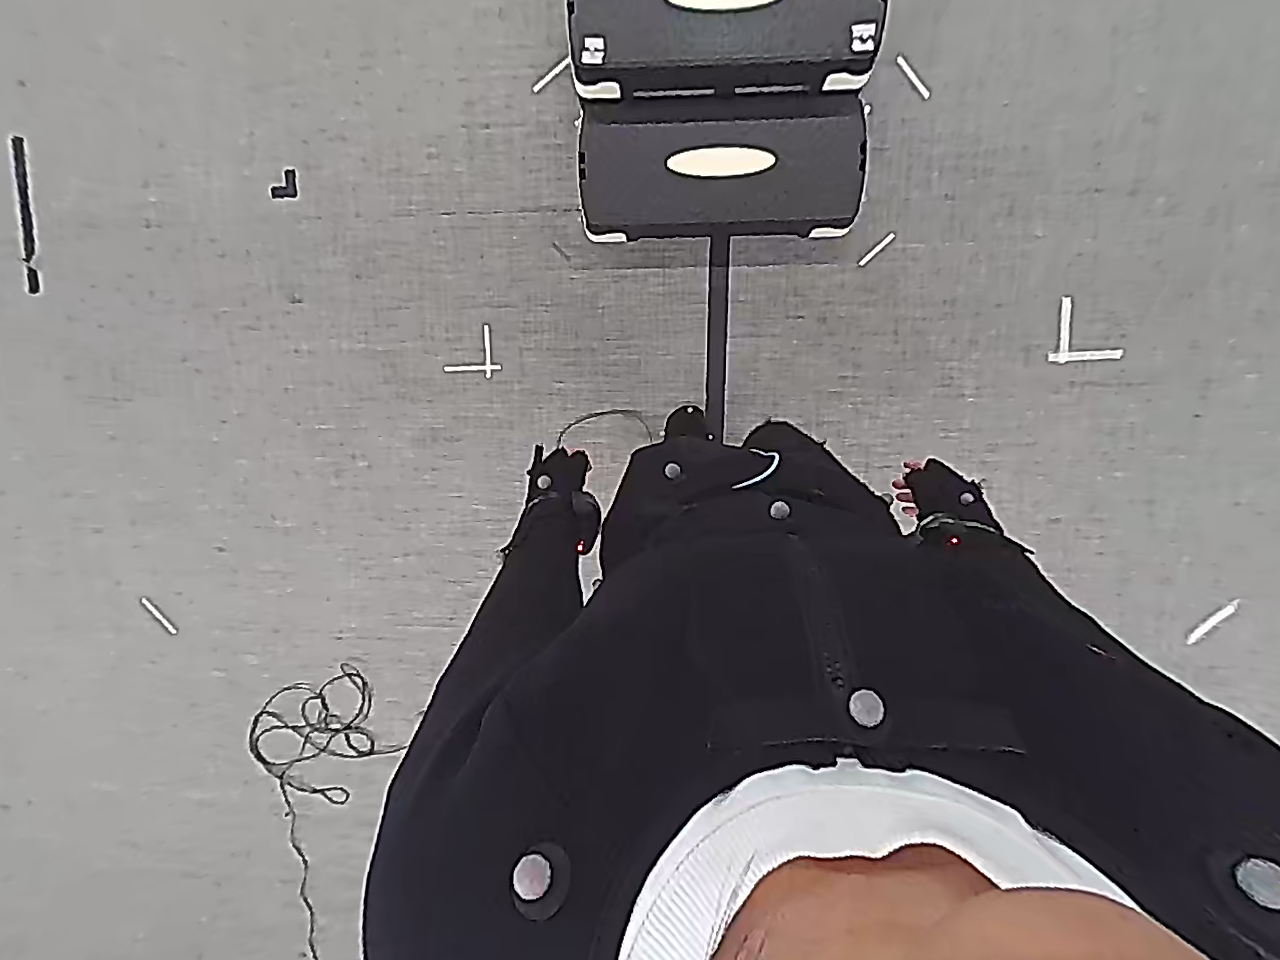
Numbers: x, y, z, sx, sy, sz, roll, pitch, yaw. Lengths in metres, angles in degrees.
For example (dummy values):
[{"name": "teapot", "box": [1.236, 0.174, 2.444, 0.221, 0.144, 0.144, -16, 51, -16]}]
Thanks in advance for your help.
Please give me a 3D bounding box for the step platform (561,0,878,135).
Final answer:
[{"name": "step platform", "box": [0.165, -0.987, 1.215, 0.684, 0.204, 0.286, -1, 98, 2]}]
